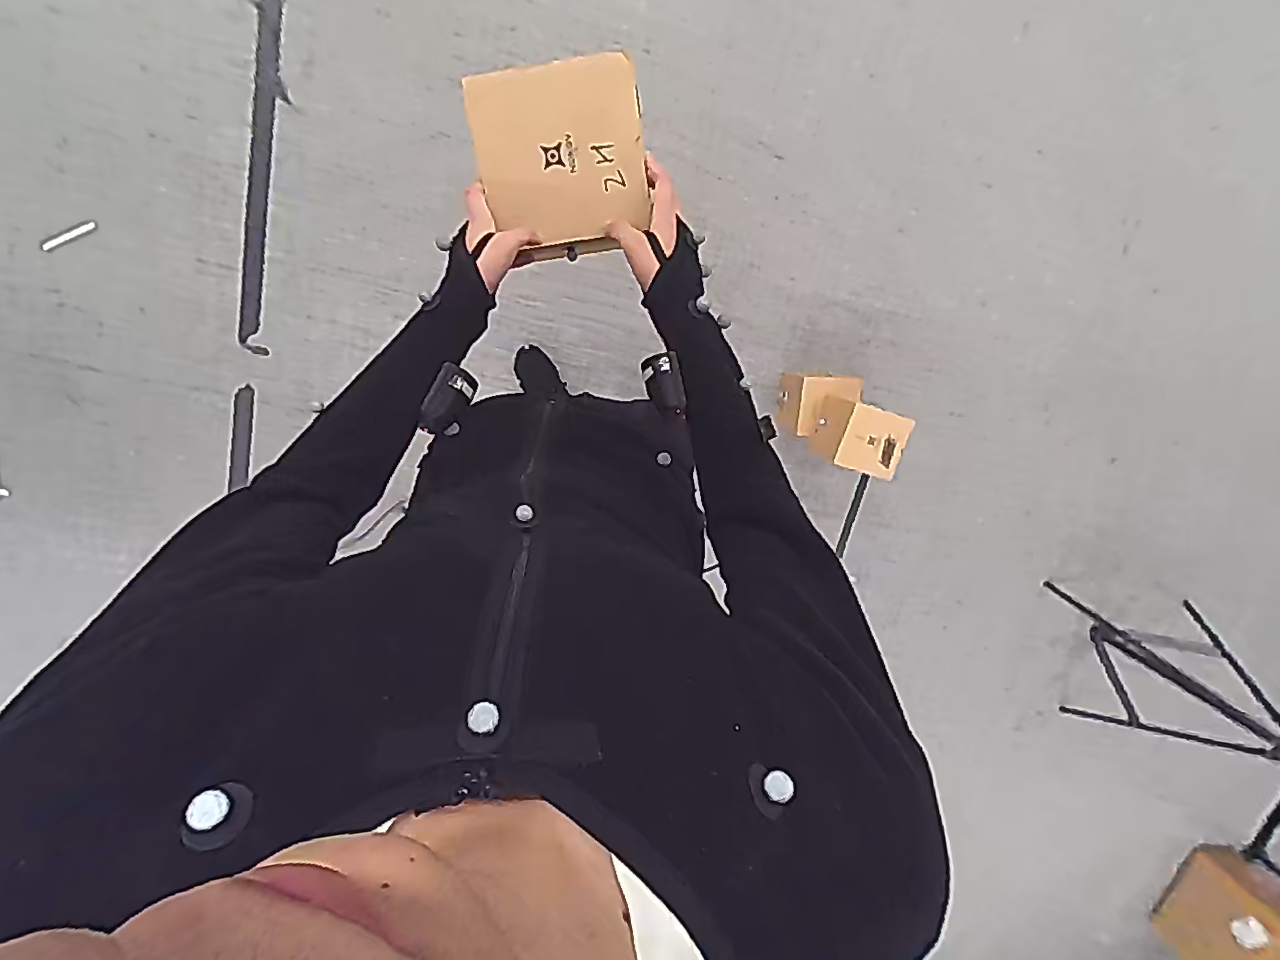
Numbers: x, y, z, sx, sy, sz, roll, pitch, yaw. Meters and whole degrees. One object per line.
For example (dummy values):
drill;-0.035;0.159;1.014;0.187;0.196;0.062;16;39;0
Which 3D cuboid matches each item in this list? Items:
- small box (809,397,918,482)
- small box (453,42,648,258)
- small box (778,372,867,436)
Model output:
small box;0.584;-0.114;1.432;0.179;0.176;0.168;16;103;-11
small box;-0.086;-0.357;0.621;0.179;0.176;0.168;-7;109;3
small box;0.522;-0.222;1.564;0.179;0.176;0.168;1;106;-7
